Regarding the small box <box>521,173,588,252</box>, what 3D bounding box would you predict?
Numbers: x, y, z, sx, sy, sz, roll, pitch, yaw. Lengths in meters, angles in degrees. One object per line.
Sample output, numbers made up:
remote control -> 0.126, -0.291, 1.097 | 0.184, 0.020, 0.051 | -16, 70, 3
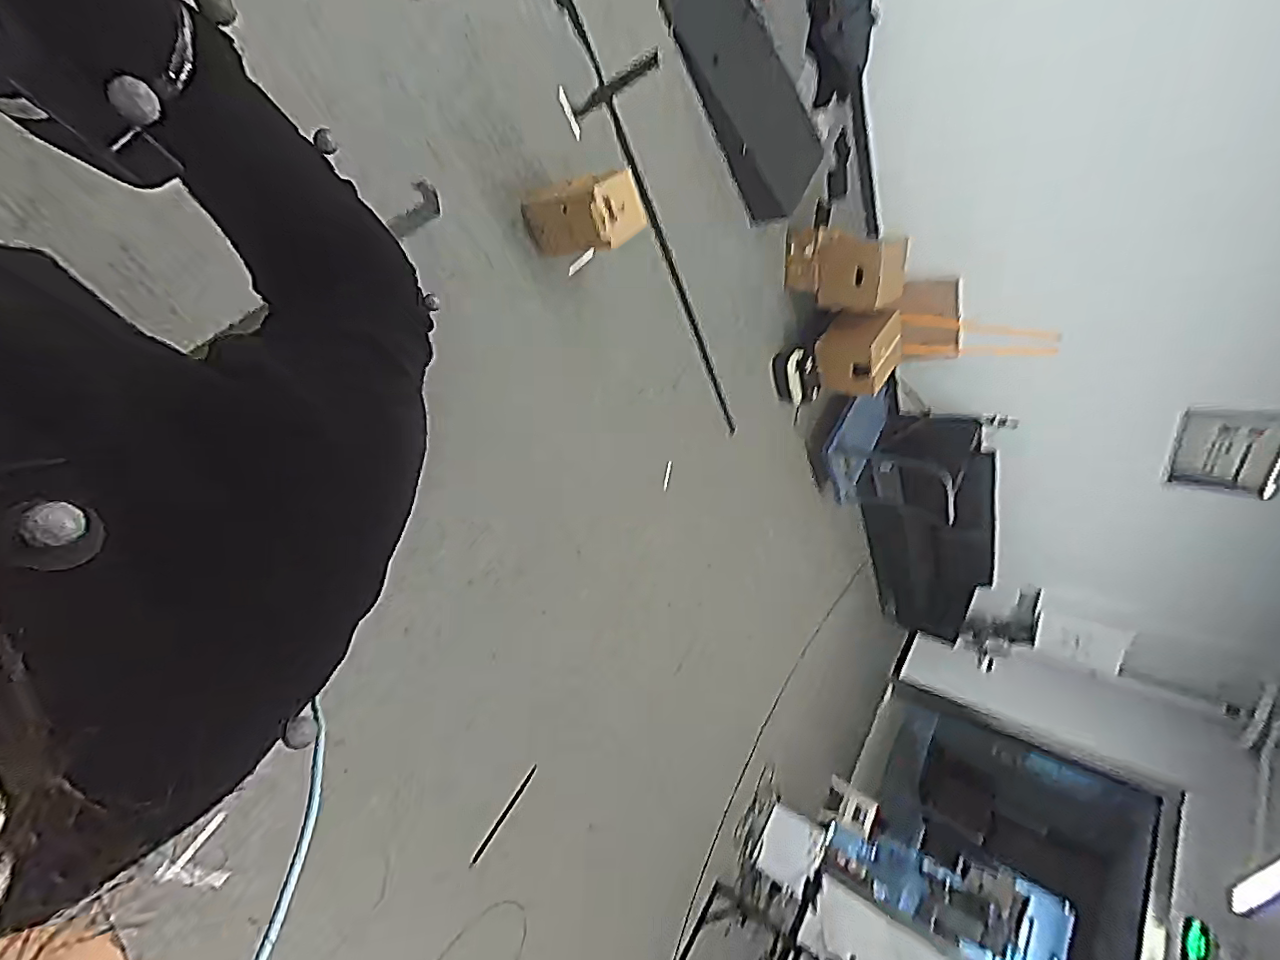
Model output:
small box -> -0.241, -0.842, 1.715 | 0.168, 0.176, 0.179 | -51, 135, -27

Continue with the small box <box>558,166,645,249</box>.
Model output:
small box -> -0.120, -0.805, 1.609 | 0.179, 0.176, 0.168 | -48, 133, -31
